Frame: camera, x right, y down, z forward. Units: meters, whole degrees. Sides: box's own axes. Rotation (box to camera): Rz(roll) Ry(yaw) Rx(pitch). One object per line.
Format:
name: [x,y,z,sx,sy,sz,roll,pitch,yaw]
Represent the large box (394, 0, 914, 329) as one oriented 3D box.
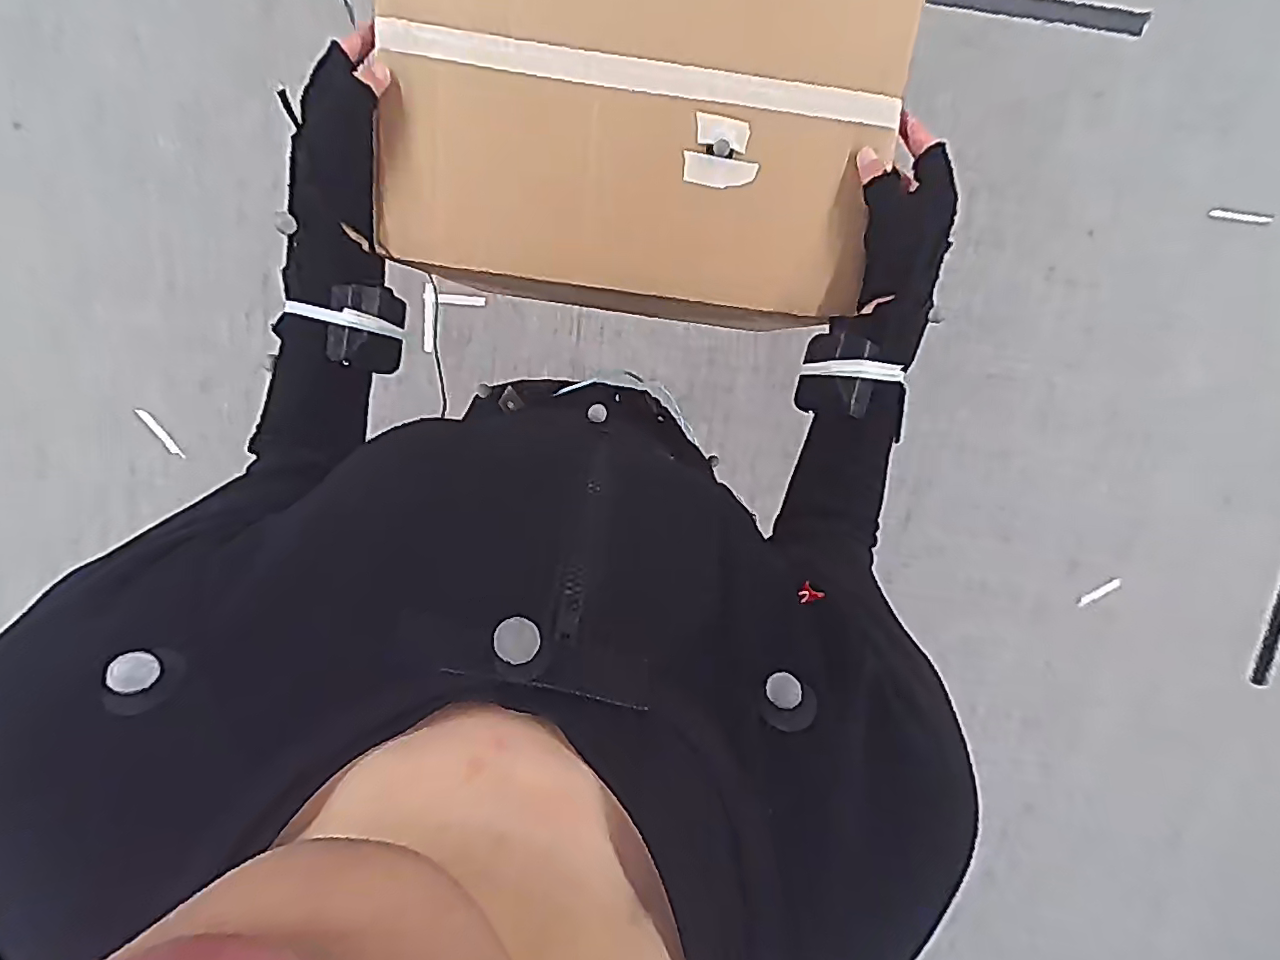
large box: [0.001,-0.347,0.576,0.408,0.320,0.320,7,104,-4]
